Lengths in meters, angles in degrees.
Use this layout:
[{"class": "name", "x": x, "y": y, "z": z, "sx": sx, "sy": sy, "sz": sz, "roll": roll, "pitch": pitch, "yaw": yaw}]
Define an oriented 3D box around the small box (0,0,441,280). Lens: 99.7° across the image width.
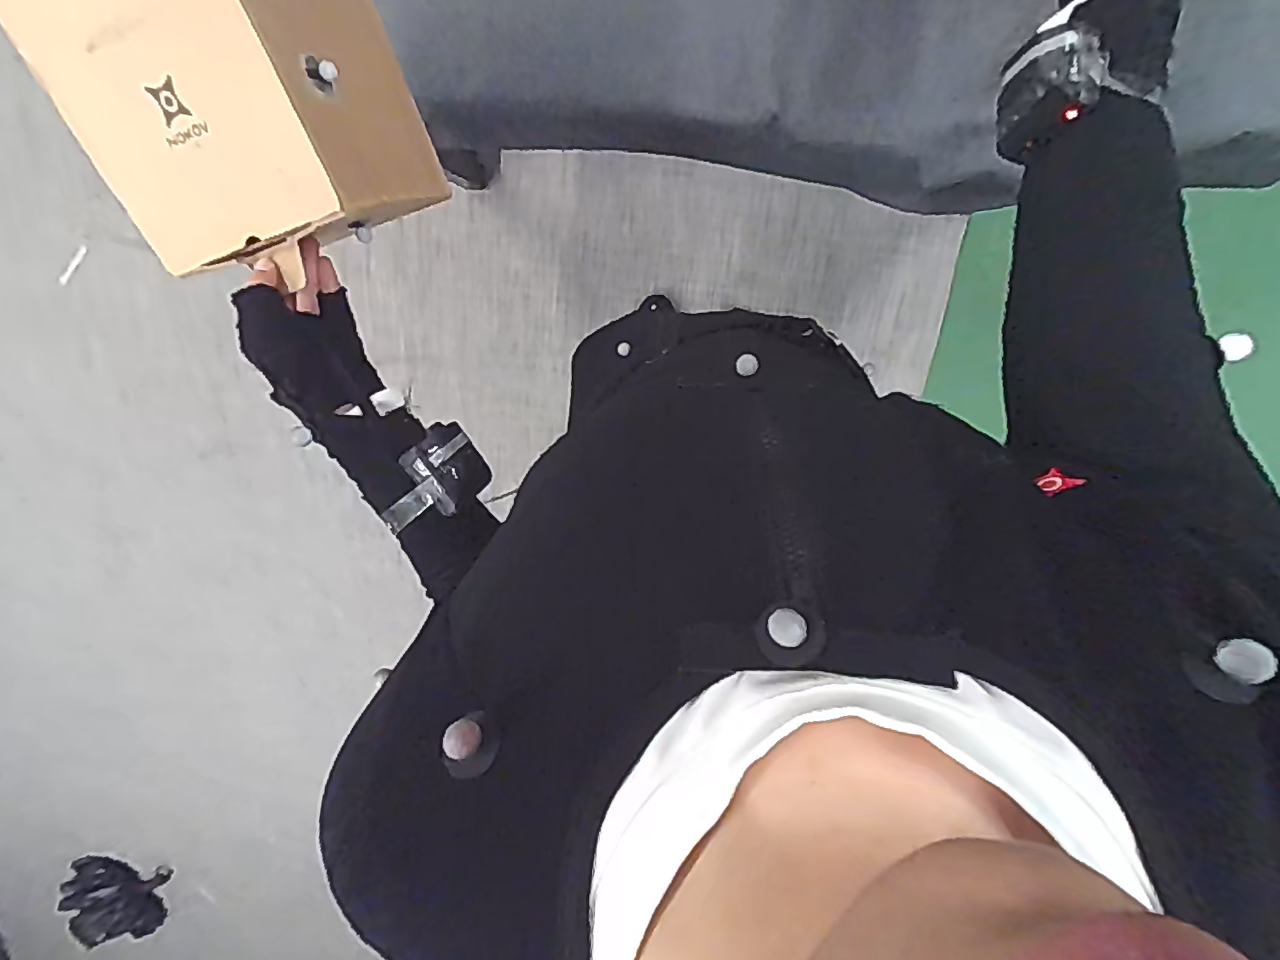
[{"class": "small box", "x": -0.285, "y": -0.275, "z": 0.409, "sx": 0.168, "sy": 0.176, "sz": 0.179, "roll": -11, "pitch": 117, "yaw": 15}]
